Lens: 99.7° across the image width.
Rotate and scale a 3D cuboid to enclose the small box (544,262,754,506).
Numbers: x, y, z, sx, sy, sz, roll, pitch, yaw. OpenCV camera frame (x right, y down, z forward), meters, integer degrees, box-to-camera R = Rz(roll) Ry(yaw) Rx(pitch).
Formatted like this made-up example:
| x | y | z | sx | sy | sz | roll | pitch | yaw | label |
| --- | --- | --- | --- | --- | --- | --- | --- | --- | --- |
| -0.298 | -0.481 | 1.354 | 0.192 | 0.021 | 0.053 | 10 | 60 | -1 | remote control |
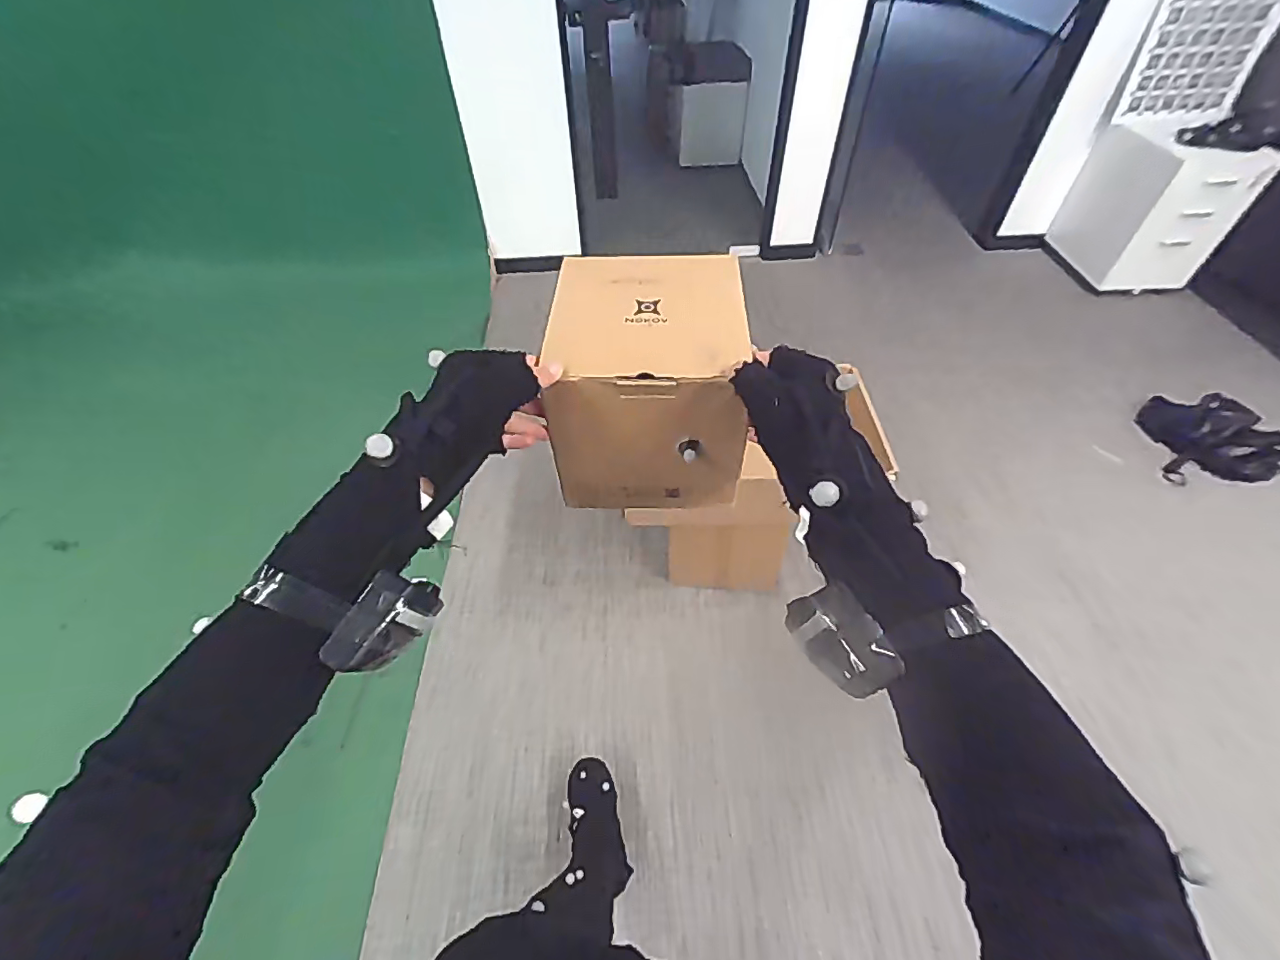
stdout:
| x | y | z | sx | sy | sz | roll | pitch | yaw | label |
| --- | --- | --- | --- | --- | --- | --- | --- | --- | --- |
| 0.011 | -0.089 | 0.524 | 0.168 | 0.176 | 0.179 | 0 | 50 | 1 | small box |
